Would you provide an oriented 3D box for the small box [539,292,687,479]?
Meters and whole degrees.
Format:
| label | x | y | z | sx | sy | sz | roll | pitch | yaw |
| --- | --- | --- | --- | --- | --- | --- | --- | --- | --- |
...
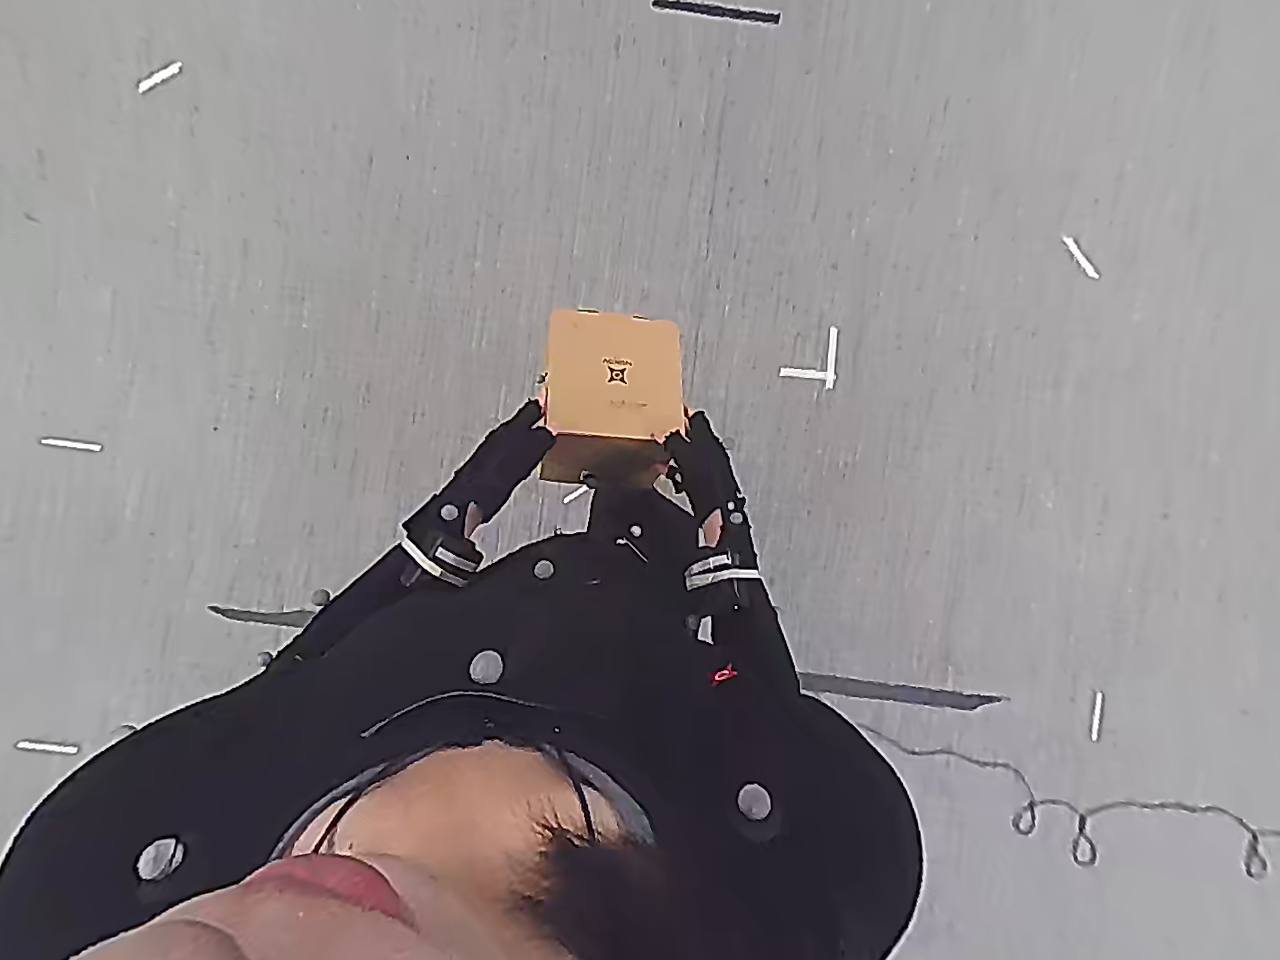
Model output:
| label | x | y | z | sx | sy | sz | roll | pitch | yaw |
| --- | --- | --- | --- | --- | --- | --- | --- | --- | --- |
| small box | -0.045 | -0.115 | 0.712 | 0.168 | 0.176 | 0.179 | 2 | 69 | -12 |
